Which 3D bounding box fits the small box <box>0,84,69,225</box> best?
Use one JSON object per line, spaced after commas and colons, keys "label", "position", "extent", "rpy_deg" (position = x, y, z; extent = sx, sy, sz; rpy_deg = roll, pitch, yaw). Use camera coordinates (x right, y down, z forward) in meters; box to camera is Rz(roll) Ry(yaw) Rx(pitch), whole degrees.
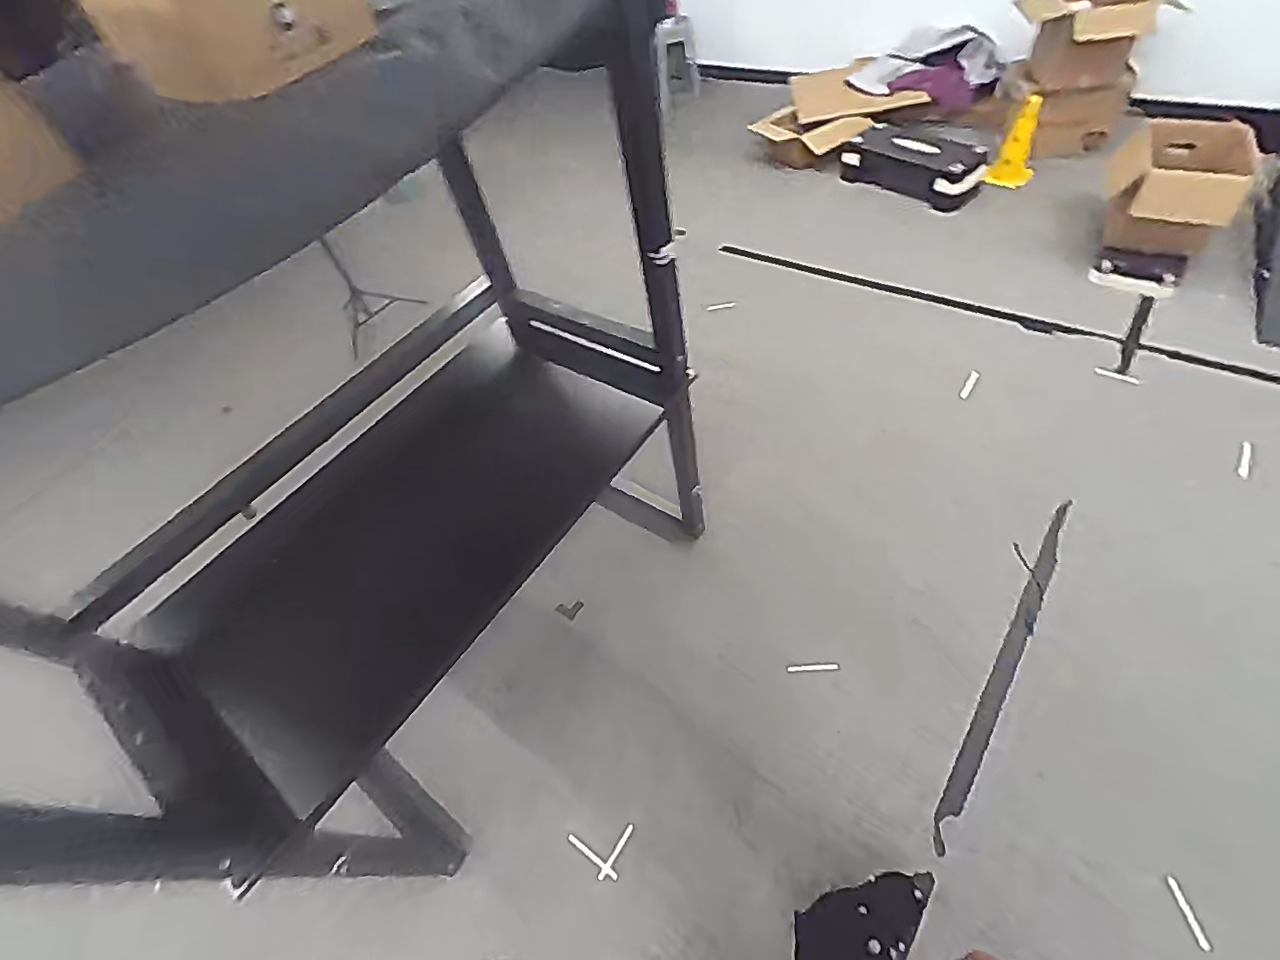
{"label": "small box", "position": [-0.559, -0.254, 0.367], "extent": [0.168, 0.176, 0.179], "rpy_deg": [22, 60, 27]}

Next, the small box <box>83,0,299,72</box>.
{"label": "small box", "position": [-0.541, -0.590, 0.609], "extent": [0.179, 0.176, 0.168], "rpy_deg": [27, 64, 27]}
